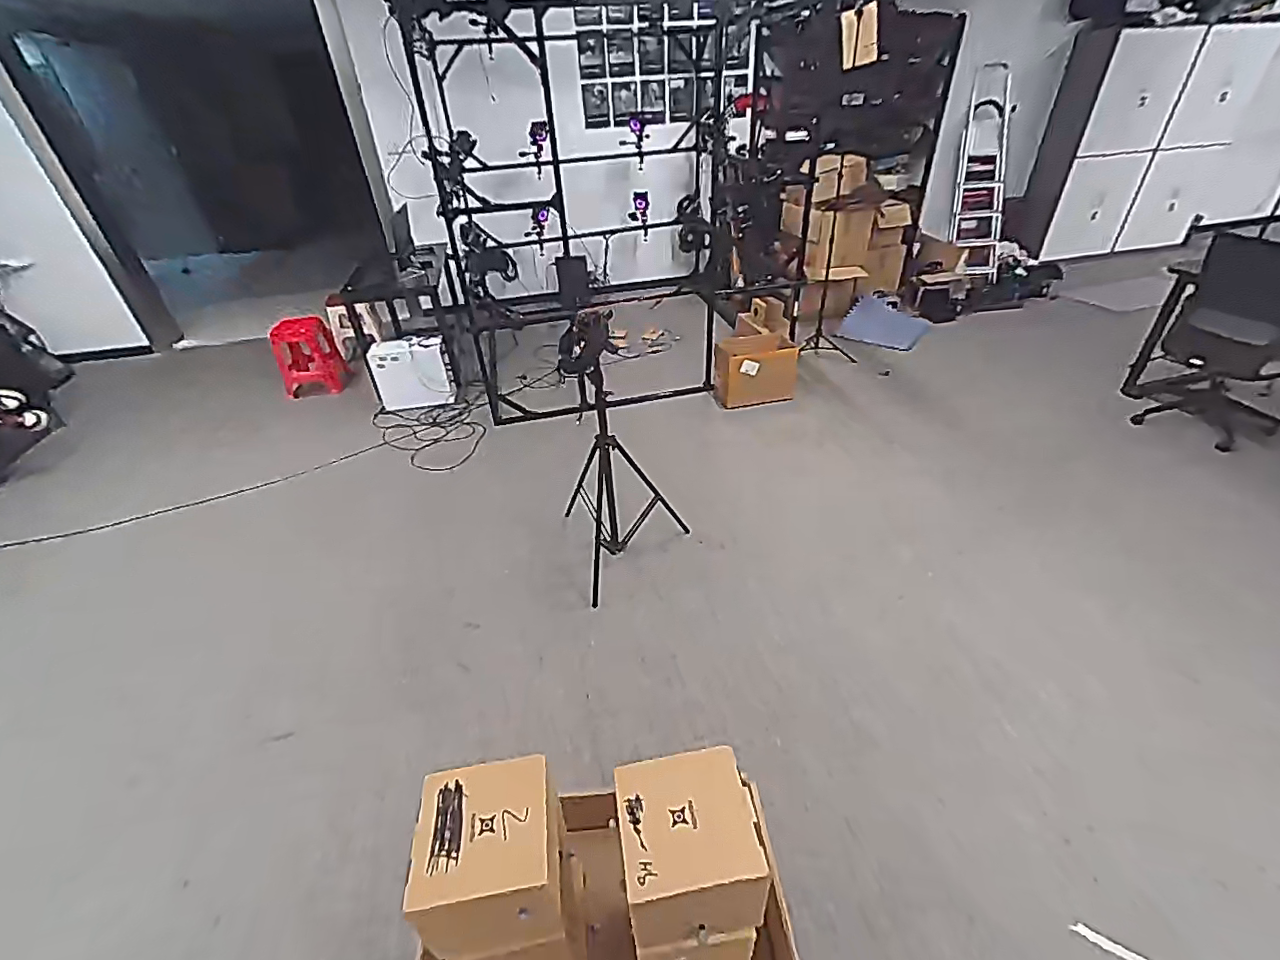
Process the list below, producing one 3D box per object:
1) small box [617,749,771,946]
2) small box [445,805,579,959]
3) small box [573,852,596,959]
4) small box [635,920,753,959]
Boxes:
[{"bbox_3d":[0.065,0.507,0.750,0.179,0.176,0.168,-7,34,-5],"label":"small box"},{"bbox_3d":[-0.191,0.653,0.848,0.168,0.176,0.179,-9,35,-5],"label":"small box"},{"bbox_3d":[-0.174,0.786,0.942,0.179,0.176,0.168,-6,36,-5],"label":"small box"},{"bbox_3d":[0.073,0.642,0.842,0.168,0.176,0.179,-6,35,-3],"label":"small box"}]
